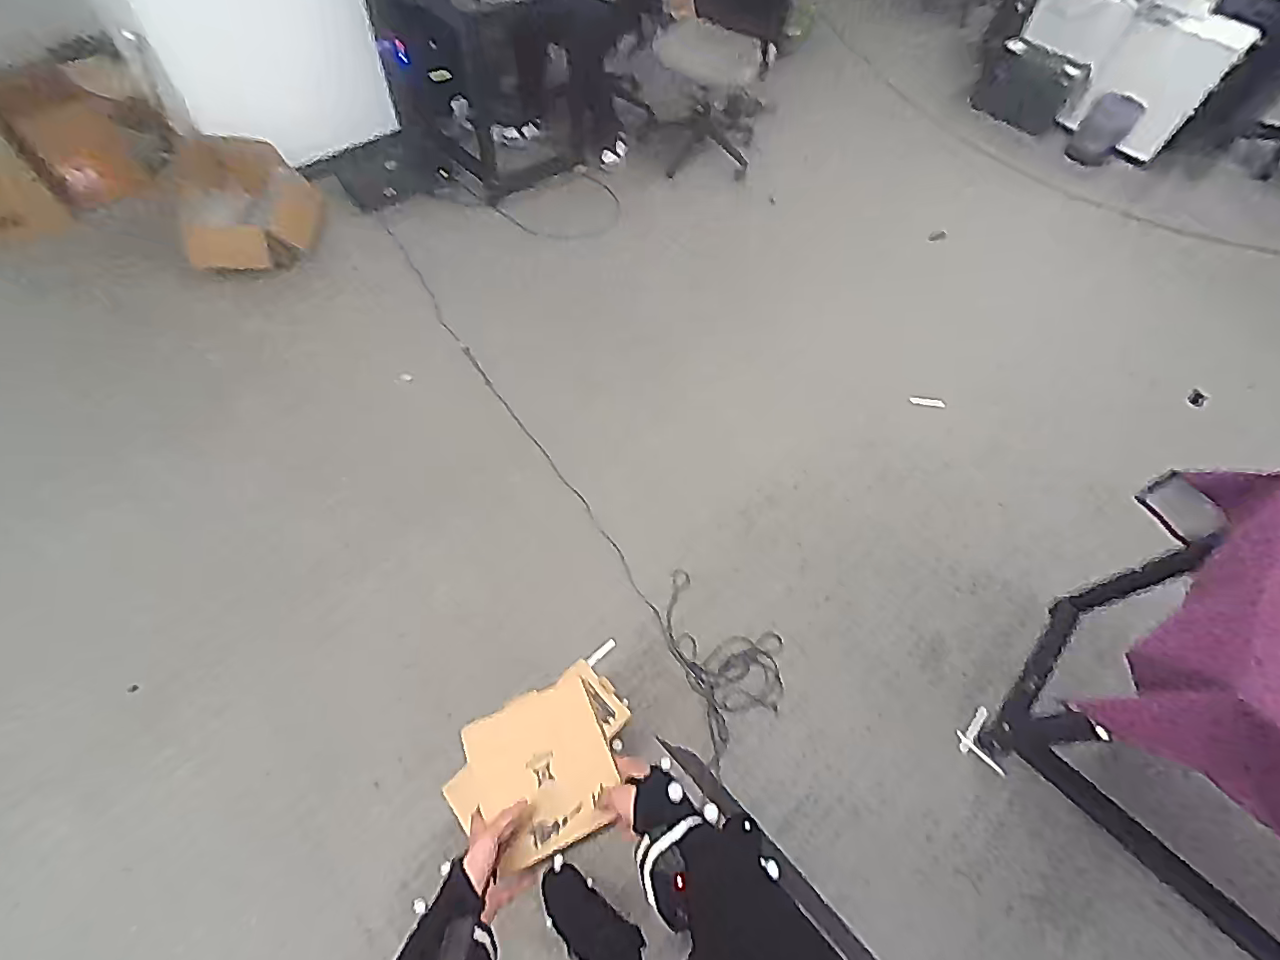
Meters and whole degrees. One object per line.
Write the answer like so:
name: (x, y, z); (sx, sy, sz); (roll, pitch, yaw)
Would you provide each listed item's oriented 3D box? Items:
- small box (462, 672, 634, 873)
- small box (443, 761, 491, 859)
small box: (-0.117, 0.392, 0.725); (0.168, 0.176, 0.179); (-22, 58, -11)
small box: (-0.279, 0.647, 1.136); (0.179, 0.176, 0.168); (-35, 68, -20)
